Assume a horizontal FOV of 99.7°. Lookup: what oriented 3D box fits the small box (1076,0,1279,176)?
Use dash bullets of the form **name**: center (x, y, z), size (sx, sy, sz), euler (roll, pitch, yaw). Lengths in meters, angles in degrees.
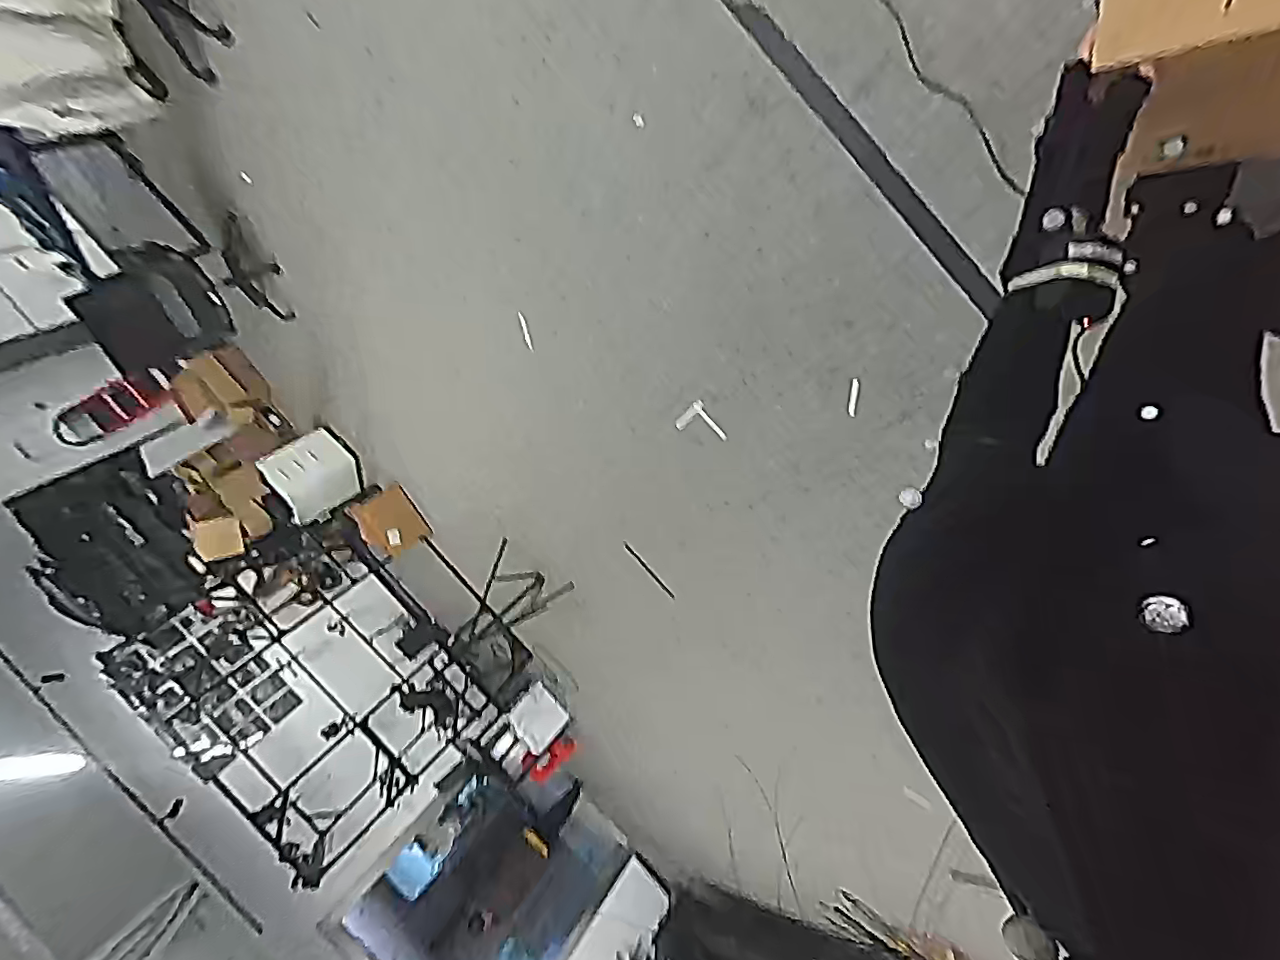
- **small box**: center (0.498, -0.403, 0.465), size (0.168, 0.176, 0.179), euler (10, 89, 34)
